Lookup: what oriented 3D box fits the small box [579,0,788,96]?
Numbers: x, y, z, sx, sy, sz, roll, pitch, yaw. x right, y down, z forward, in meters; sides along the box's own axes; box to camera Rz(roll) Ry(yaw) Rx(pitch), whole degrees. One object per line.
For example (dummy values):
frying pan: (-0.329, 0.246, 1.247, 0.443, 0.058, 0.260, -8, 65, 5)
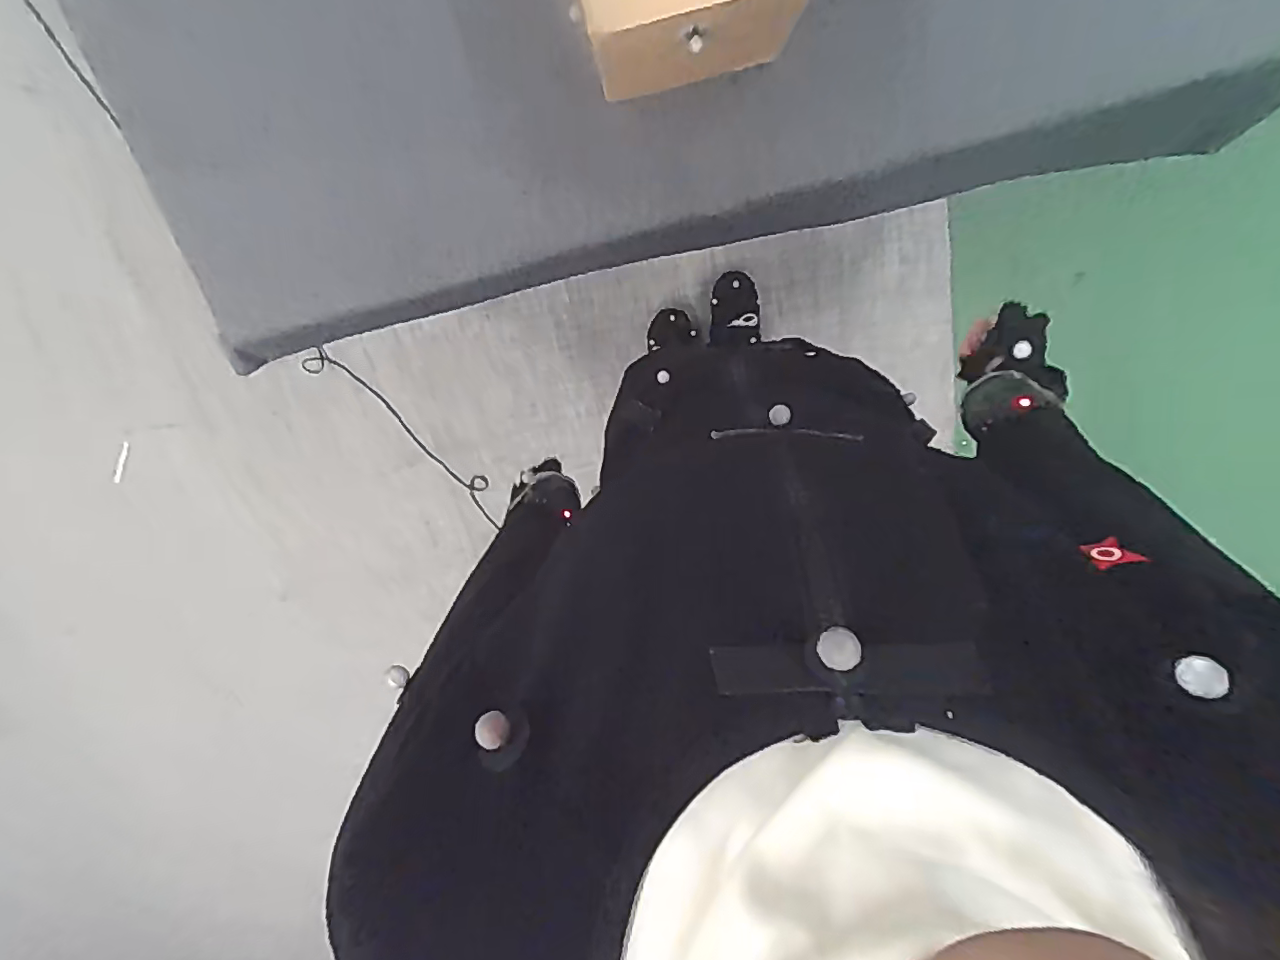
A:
small box: (0.030, -0.457, 0.454, 0.179, 0.176, 0.168, -11, 110, 5)
